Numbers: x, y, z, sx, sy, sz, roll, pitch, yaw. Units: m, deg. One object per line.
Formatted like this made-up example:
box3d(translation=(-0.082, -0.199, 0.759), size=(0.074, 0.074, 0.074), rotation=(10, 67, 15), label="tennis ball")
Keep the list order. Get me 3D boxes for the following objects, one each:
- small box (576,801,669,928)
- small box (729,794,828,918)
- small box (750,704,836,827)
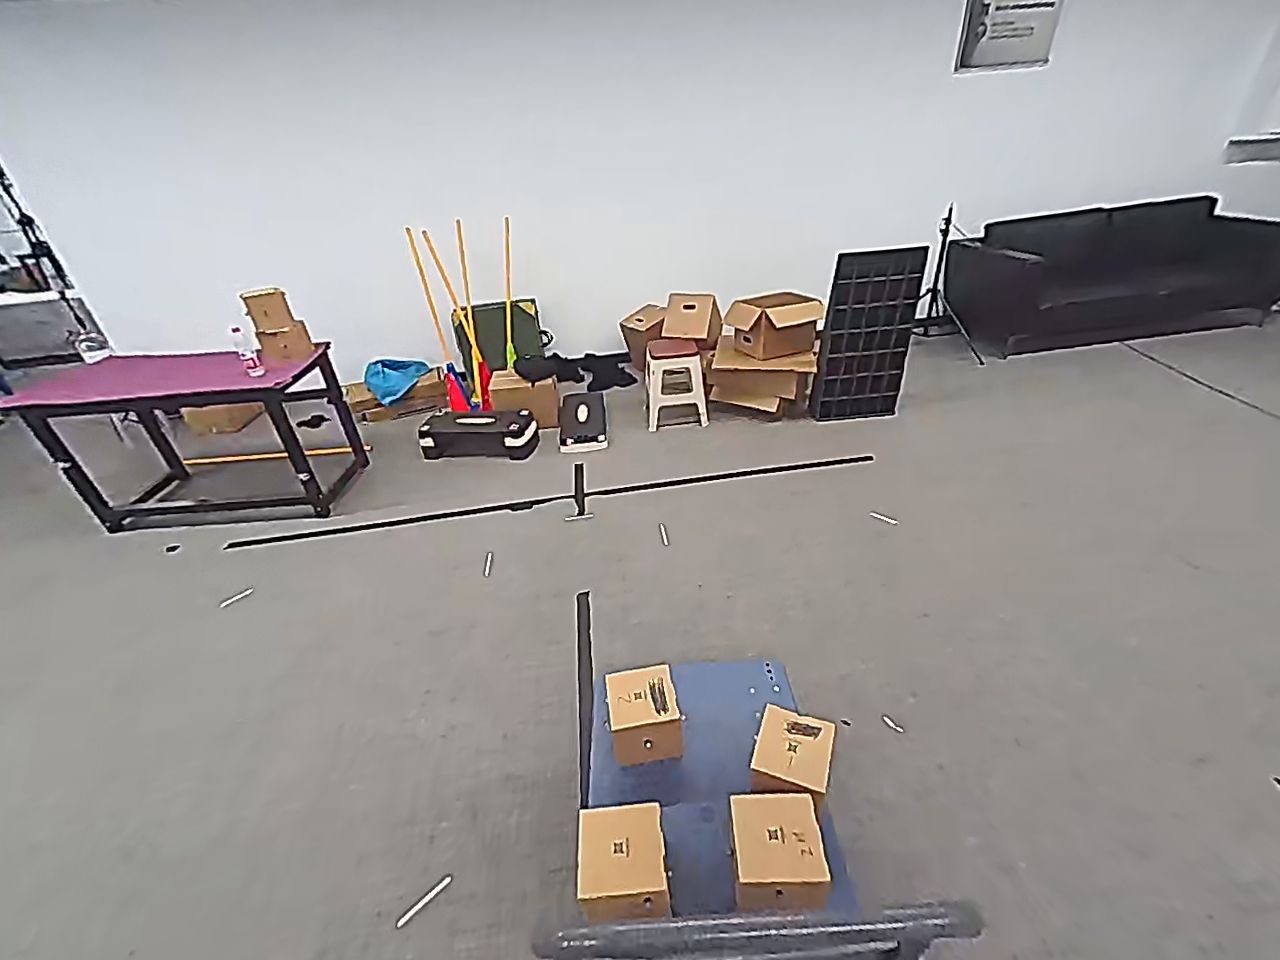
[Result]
box3d(translation=(-0.035, 0.810, 1.140), size=(0.179, 0.176, 0.168), rotation=(-4, 32, -1), label="small box")
box3d(translation=(0.281, 0.785, 1.131), size=(0.179, 0.176, 0.168), rotation=(-3, 33, 4), label="small box")
box3d(translation=(0.362, 0.679, 1.287), size=(0.168, 0.176, 0.179), rotation=(10, 36, 23), label="small box")
